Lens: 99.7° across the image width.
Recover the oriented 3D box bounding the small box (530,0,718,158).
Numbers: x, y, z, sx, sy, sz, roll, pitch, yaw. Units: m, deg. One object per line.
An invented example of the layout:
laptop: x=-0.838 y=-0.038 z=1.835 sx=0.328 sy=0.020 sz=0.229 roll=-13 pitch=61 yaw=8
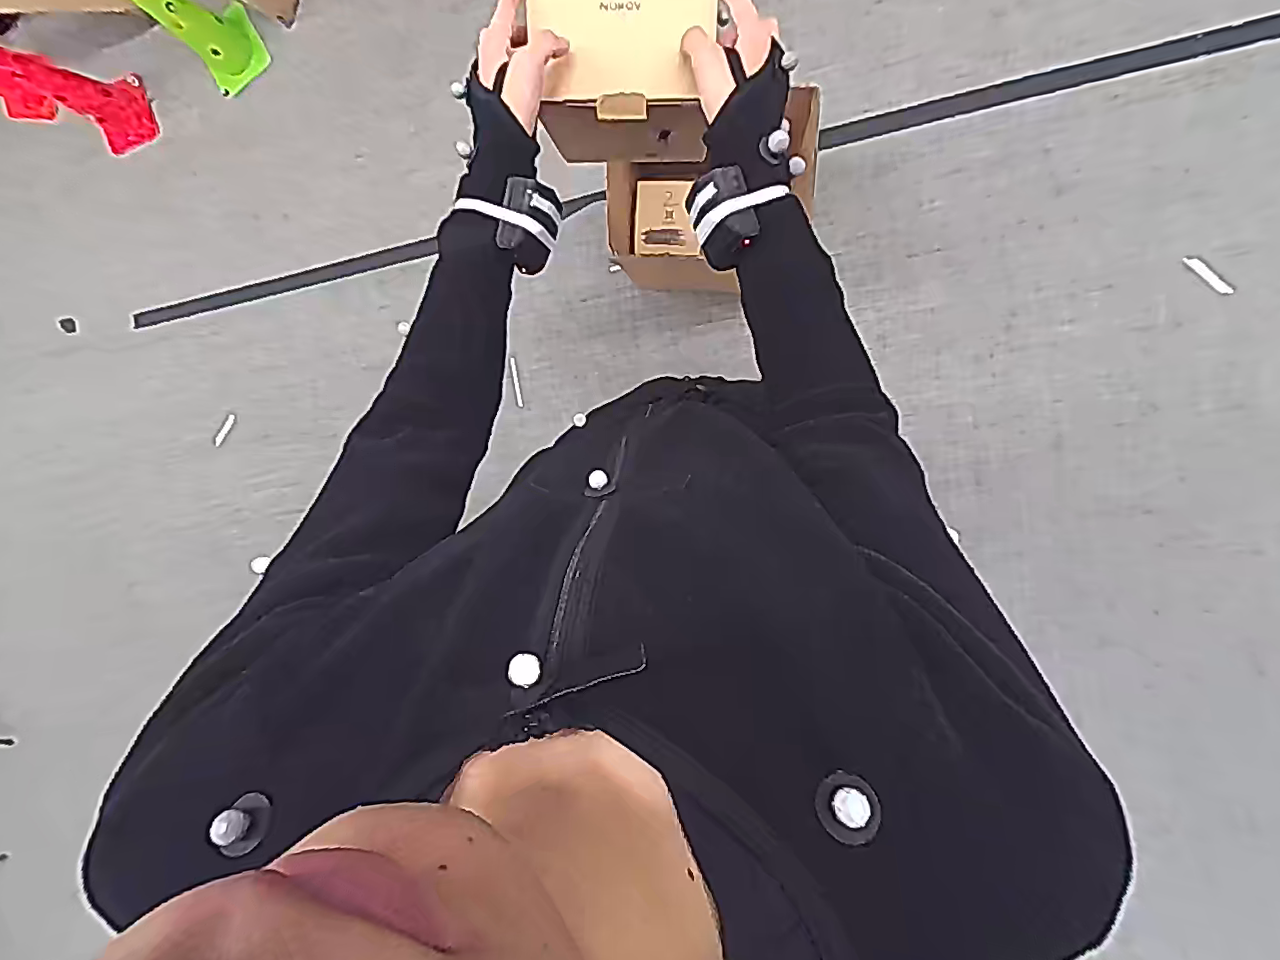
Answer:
small box: x=-0.008 y=-0.439 z=0.538 sx=0.168 sy=0.176 sz=0.179 roll=2 pitch=104 yaw=3
